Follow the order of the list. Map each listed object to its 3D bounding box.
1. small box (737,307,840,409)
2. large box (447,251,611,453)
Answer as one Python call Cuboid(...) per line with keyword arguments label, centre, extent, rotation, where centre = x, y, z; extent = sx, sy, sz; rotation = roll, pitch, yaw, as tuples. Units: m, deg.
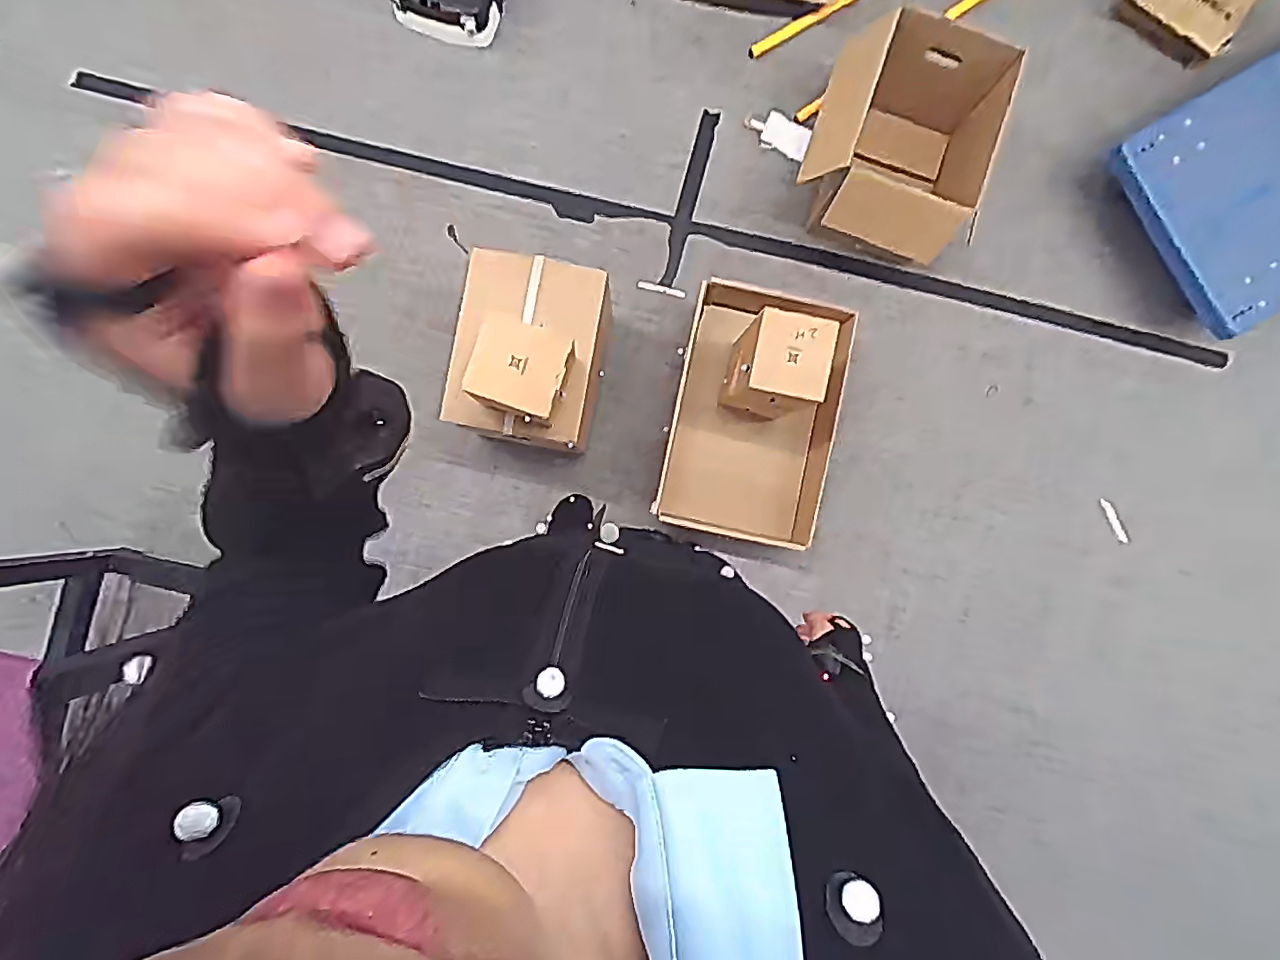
Cuboid(label="small box", centre=(0.325, -0.264, 1.218), extent=(0.168, 0.176, 0.179), rotation=(12, 90, -2))
Cuboid(label="large box", centre=(-0.254, -0.296, 1.356), extent=(0.320, 0.320, 0.408), rotation=(10, 89, 0))
